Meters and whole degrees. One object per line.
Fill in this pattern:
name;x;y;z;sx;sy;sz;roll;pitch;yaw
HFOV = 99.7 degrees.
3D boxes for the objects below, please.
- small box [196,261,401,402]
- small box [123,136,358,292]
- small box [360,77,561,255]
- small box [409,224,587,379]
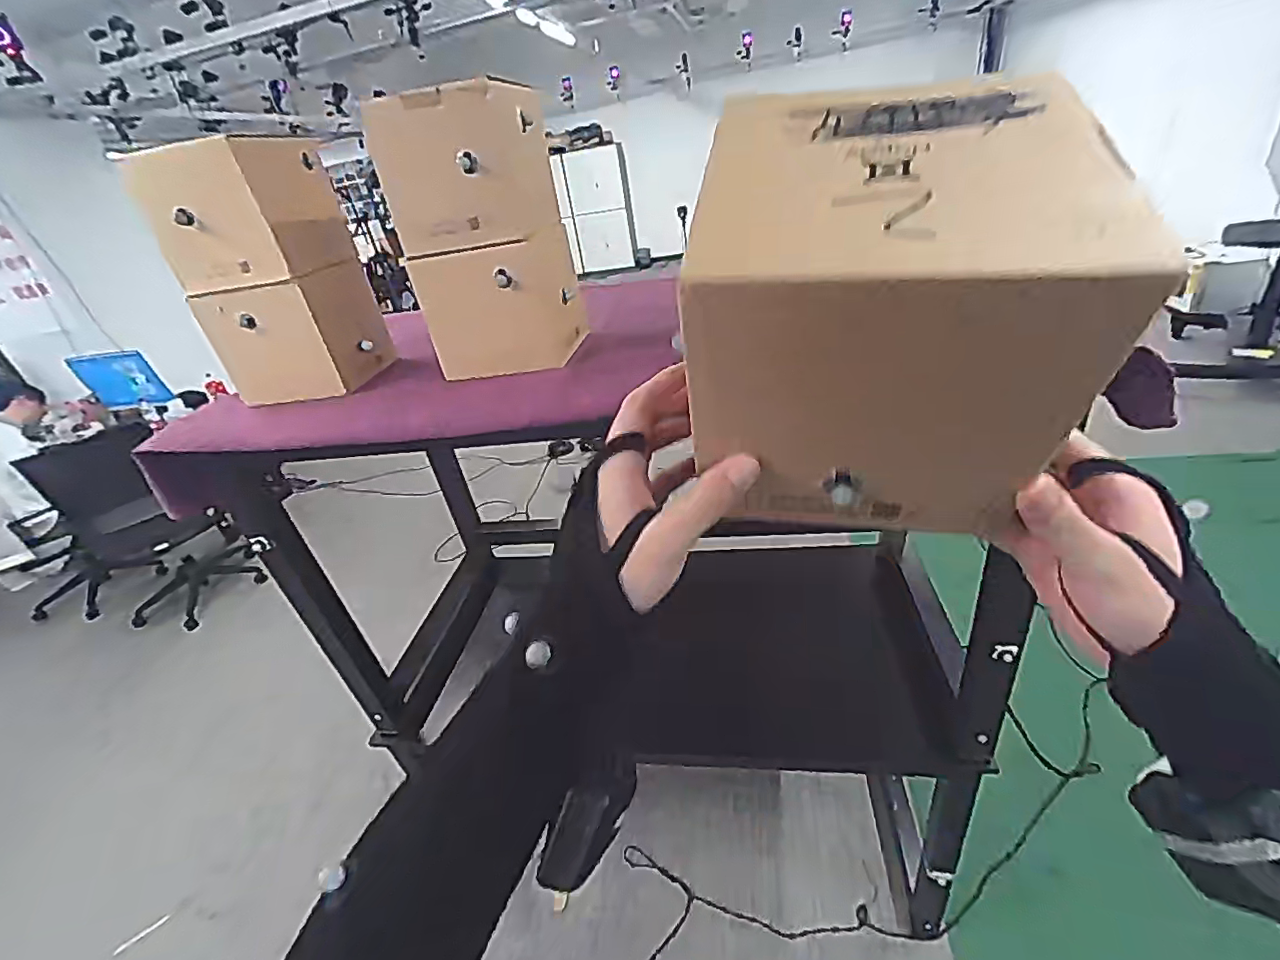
small box;-0.513;-0.229;0.842;0.179;0.176;0.168;-4;31;9
small box;-0.539;-0.370;0.764;0.168;0.176;0.179;-6;30;9
small box;-0.214;-0.399;0.706;0.168;0.176;0.179;-3;30;12
small box;-0.188;-0.257;0.780;0.179;0.176;0.168;-4;30;13
